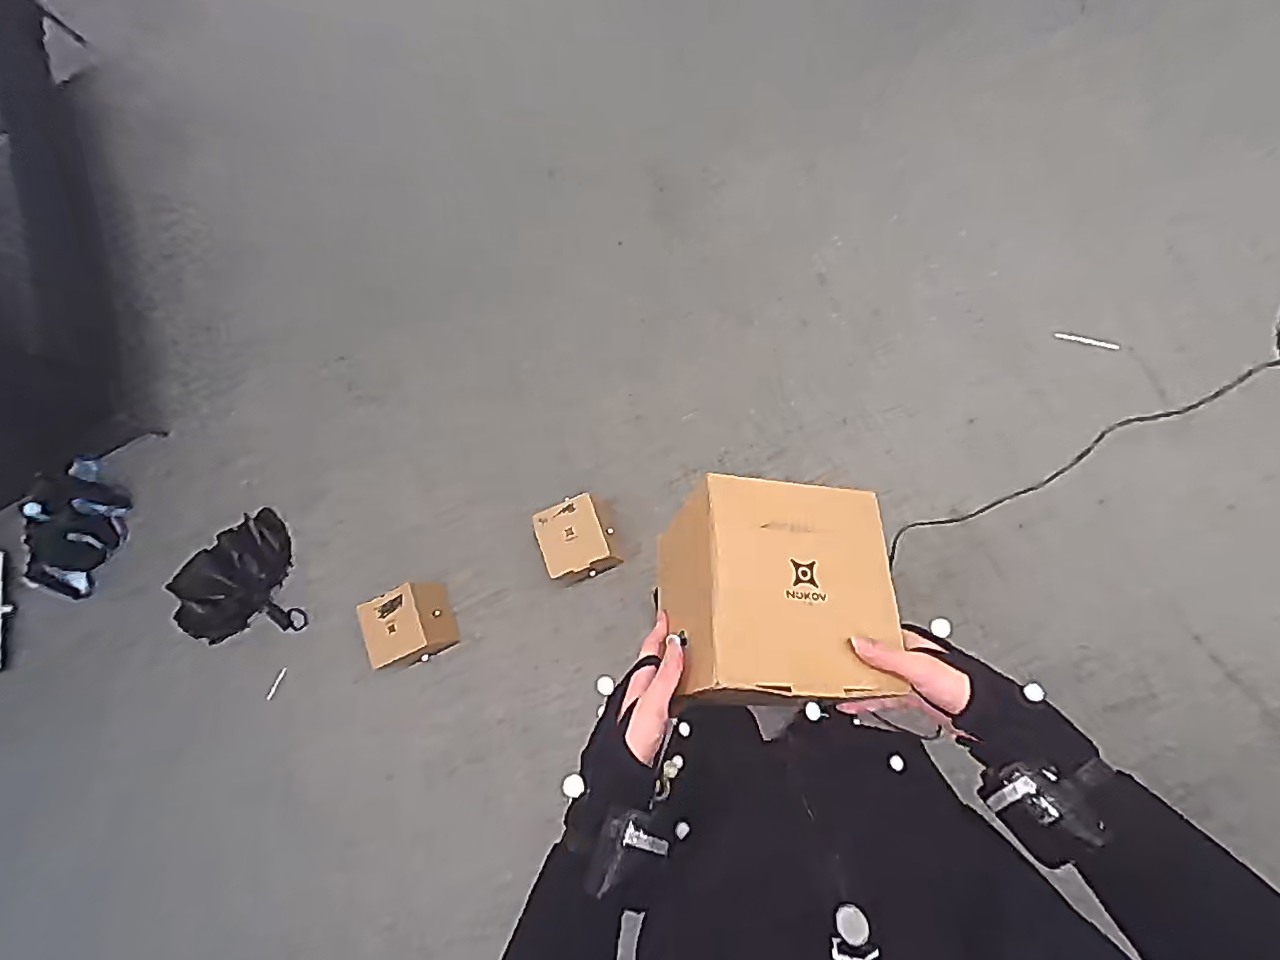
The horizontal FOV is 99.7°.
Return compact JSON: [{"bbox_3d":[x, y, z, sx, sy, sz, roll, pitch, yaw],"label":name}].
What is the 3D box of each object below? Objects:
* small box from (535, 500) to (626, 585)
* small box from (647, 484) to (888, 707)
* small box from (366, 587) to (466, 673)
[{"bbox_3d":[-0.152,0.171,1.448,0.168,0.176,0.179,-24,74,7],"label":"small box"},{"bbox_3d":[0.106,0.123,0.529,0.168,0.176,0.179,6,63,-12],"label":"small box"},{"bbox_3d":[-0.615,0.411,1.496,0.168,0.176,0.179,-26,75,6],"label":"small box"}]
